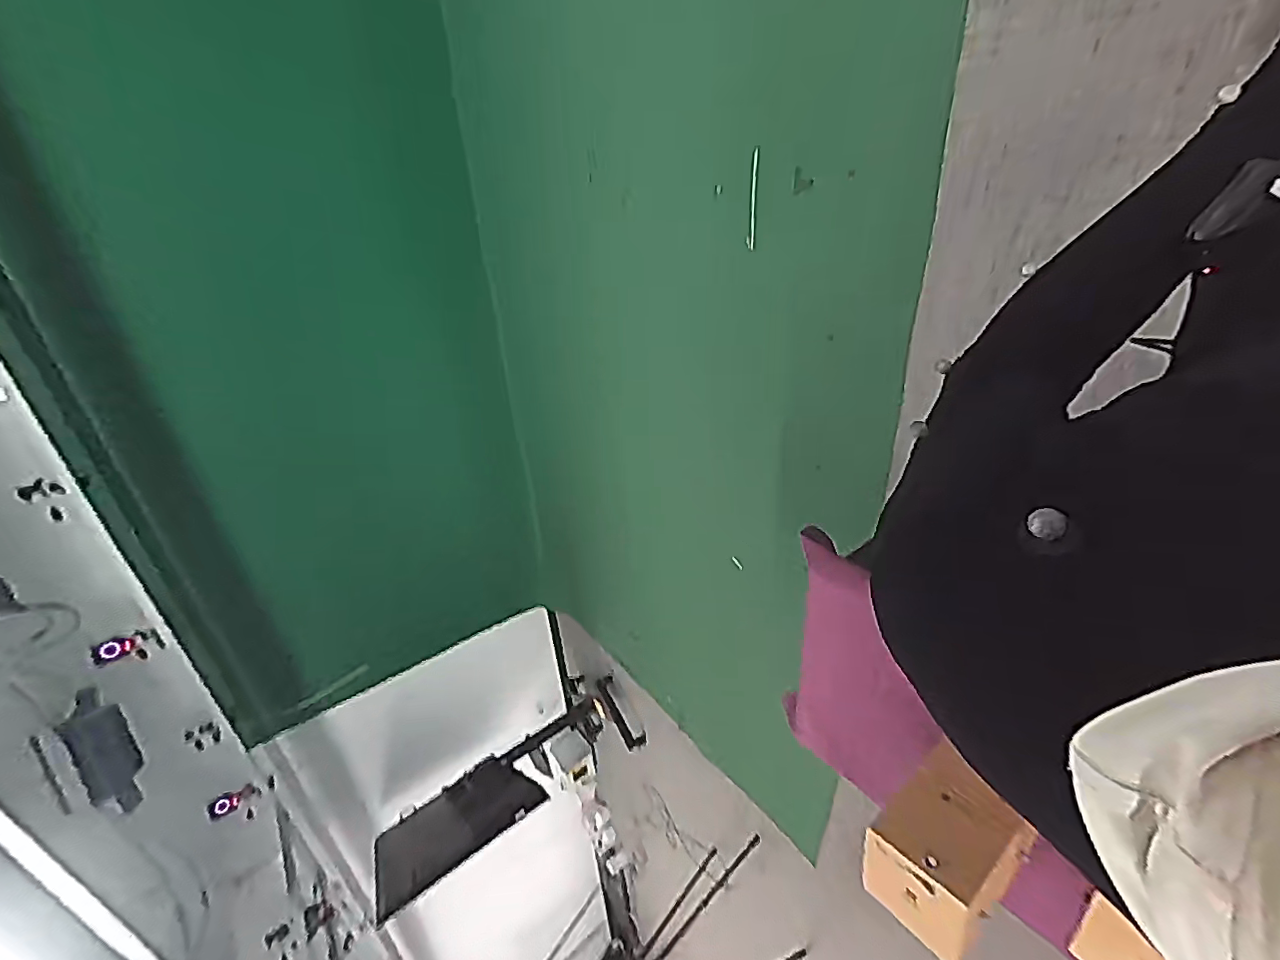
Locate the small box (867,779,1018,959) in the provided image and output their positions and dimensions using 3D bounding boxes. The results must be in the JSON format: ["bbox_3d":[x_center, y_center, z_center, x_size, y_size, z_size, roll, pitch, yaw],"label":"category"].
[{"bbox_3d":[0.510,0.663,0.918,0.168,0.176,0.179,22,128,49],"label":"small box"}]

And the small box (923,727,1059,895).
[{"bbox_3d":[0.640,0.608,1.003,0.168,0.176,0.179,23,127,48],"label":"small box"}]

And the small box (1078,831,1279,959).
[{"bbox_3d":[0.804,0.687,0.810,0.168,0.176,0.179,25,128,48],"label":"small box"}]
